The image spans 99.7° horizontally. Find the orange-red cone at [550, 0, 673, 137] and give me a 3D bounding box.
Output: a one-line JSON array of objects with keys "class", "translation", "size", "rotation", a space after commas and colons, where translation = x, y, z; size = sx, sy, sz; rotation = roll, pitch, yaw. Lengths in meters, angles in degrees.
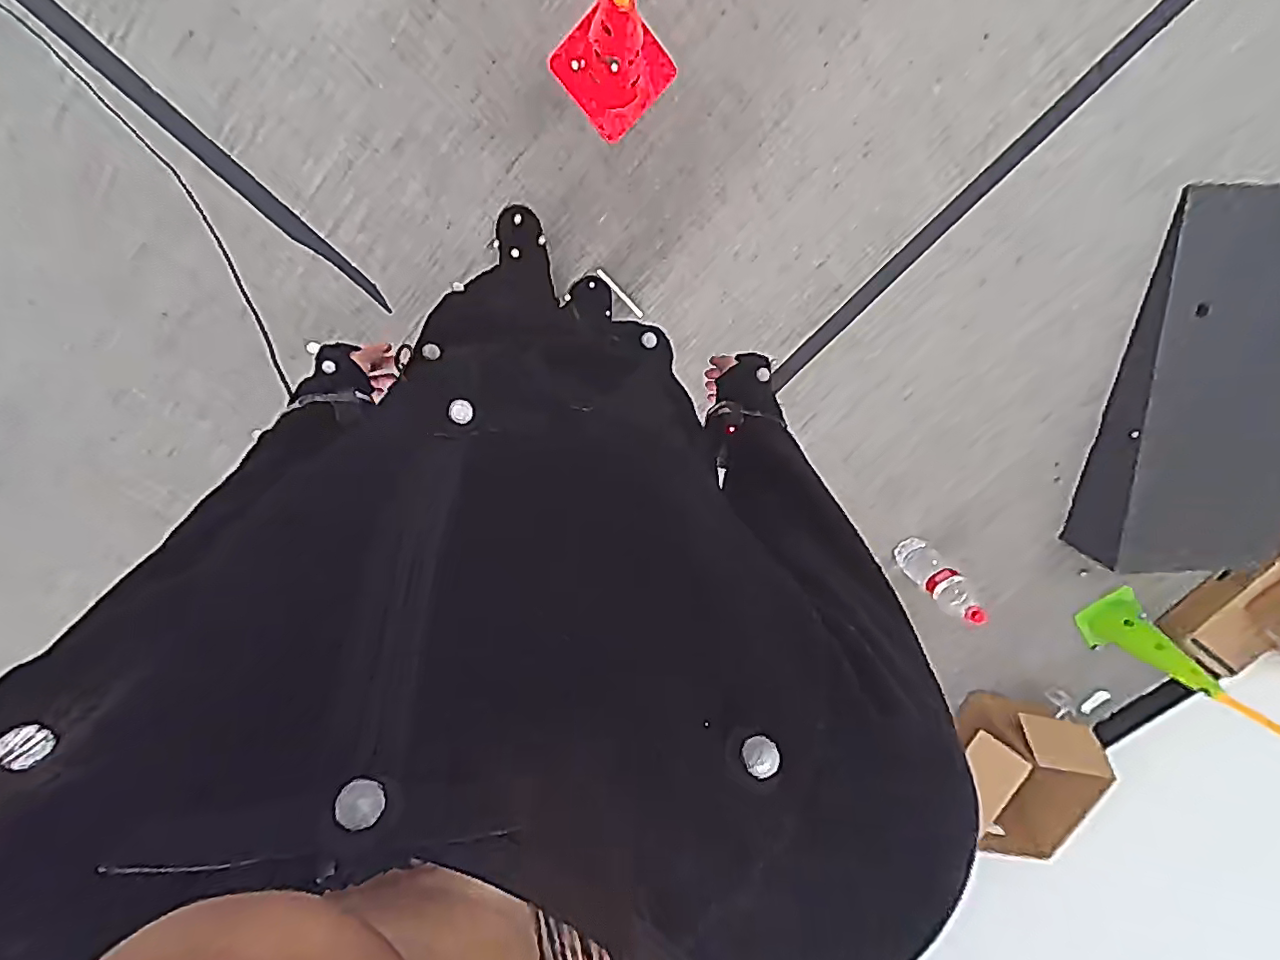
[{"class": "orange-red cone", "translation": [-0.043, -0.778, 0.948], "size": [0.198, 0.360, 0.199], "rotation": [-40, 112, 12]}]
